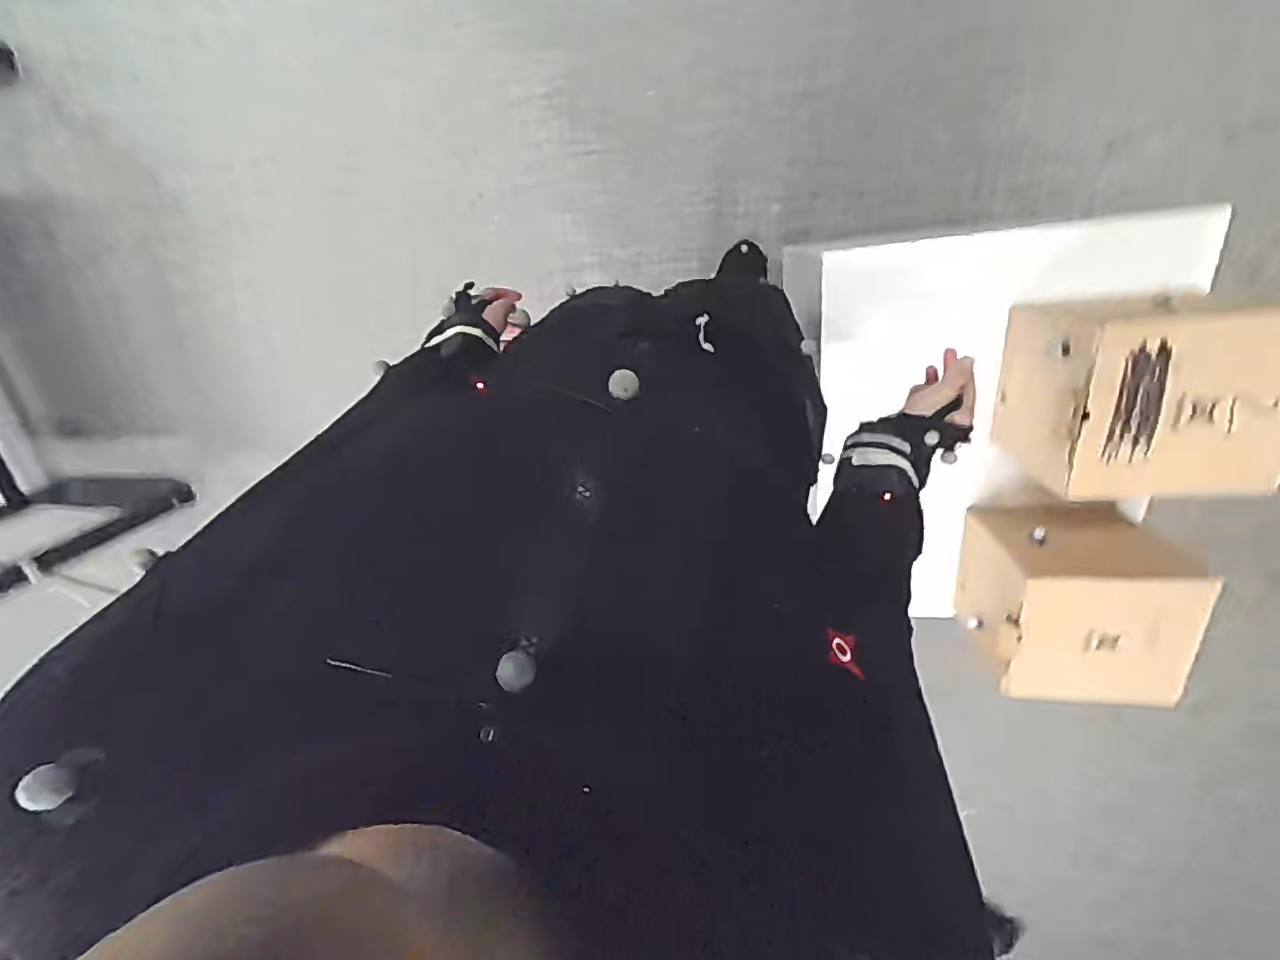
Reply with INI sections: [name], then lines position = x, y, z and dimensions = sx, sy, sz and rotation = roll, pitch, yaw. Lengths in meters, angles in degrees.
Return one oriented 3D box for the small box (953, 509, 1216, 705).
[small box]
position = 0.505, 0.143, 0.653
dimensions = 0.179, 0.176, 0.168
rotation = -2, 114, 10
